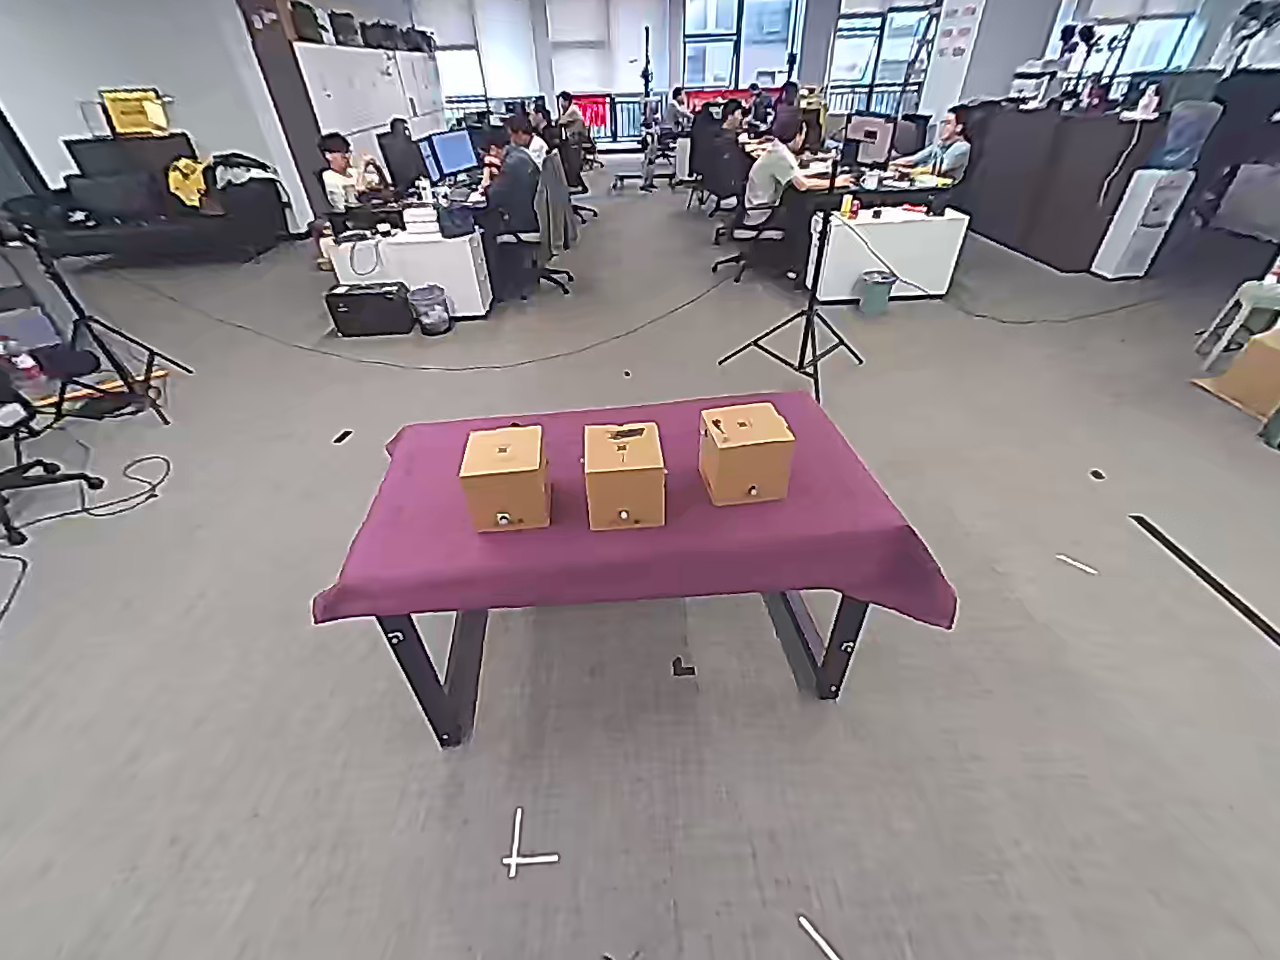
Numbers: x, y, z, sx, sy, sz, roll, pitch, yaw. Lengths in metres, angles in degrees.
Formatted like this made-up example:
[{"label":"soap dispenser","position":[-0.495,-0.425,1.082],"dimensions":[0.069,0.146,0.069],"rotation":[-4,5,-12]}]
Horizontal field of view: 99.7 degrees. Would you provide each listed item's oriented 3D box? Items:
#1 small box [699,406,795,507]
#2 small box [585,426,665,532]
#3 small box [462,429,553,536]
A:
[{"label":"small box","position":[0.244,-0.056,1.279],"dimensions":[0.179,0.176,0.168],"rotation":[-6,37,-6]},{"label":"small box","position":[-0.034,-0.003,1.224],"dimensions":[0.168,0.176,0.179],"rotation":[-4,37,-2]},{"label":"small box","position":[-0.293,0.004,1.232],"dimensions":[0.168,0.176,0.179],"rotation":[-7,38,-4]}]
